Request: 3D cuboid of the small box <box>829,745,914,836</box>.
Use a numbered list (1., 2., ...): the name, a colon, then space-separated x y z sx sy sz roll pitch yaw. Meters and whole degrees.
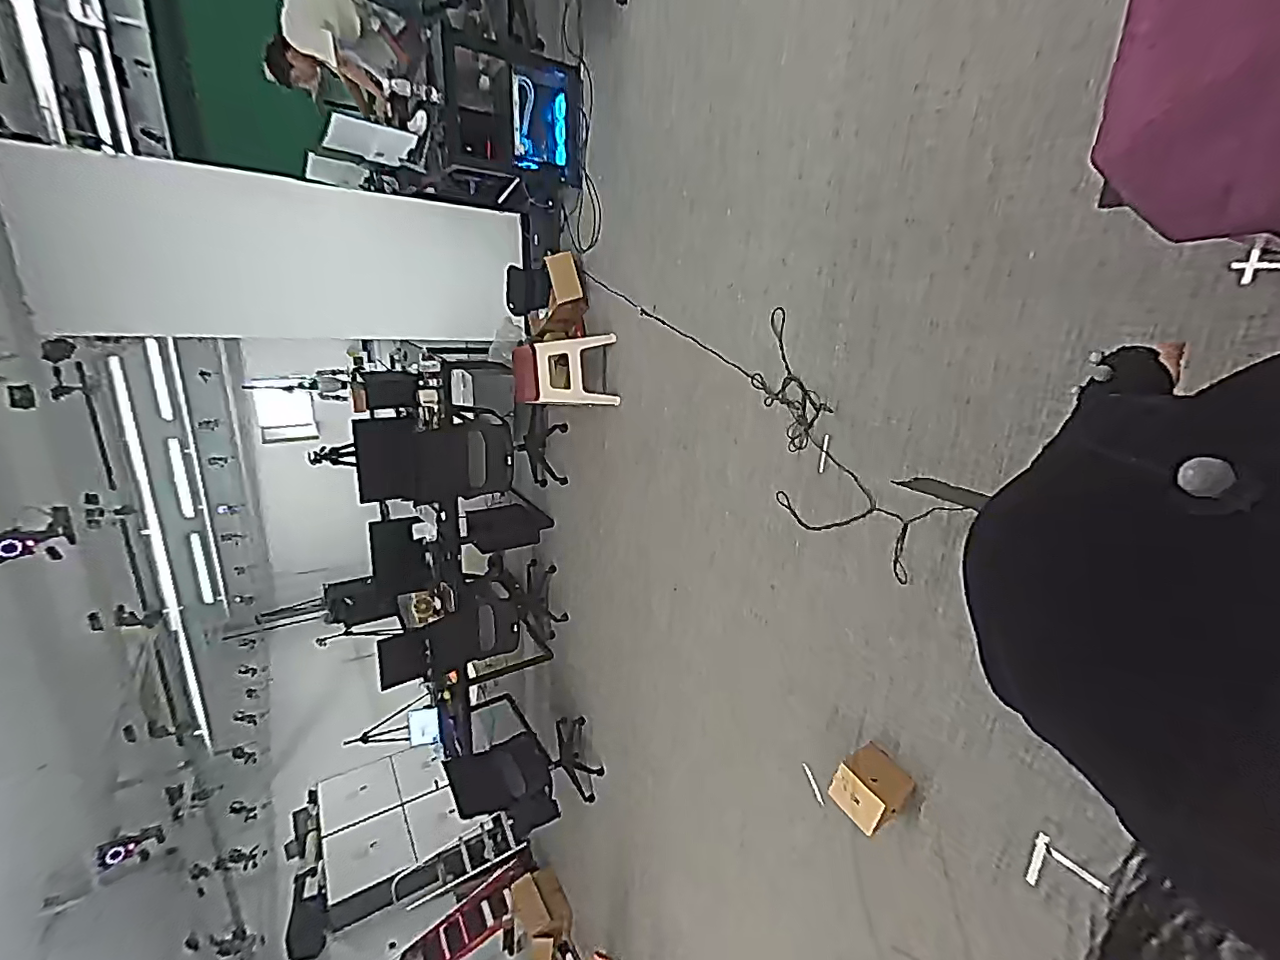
1. small box: 0.773 1.025 1.802 0.179 0.176 0.168 40 129 47
